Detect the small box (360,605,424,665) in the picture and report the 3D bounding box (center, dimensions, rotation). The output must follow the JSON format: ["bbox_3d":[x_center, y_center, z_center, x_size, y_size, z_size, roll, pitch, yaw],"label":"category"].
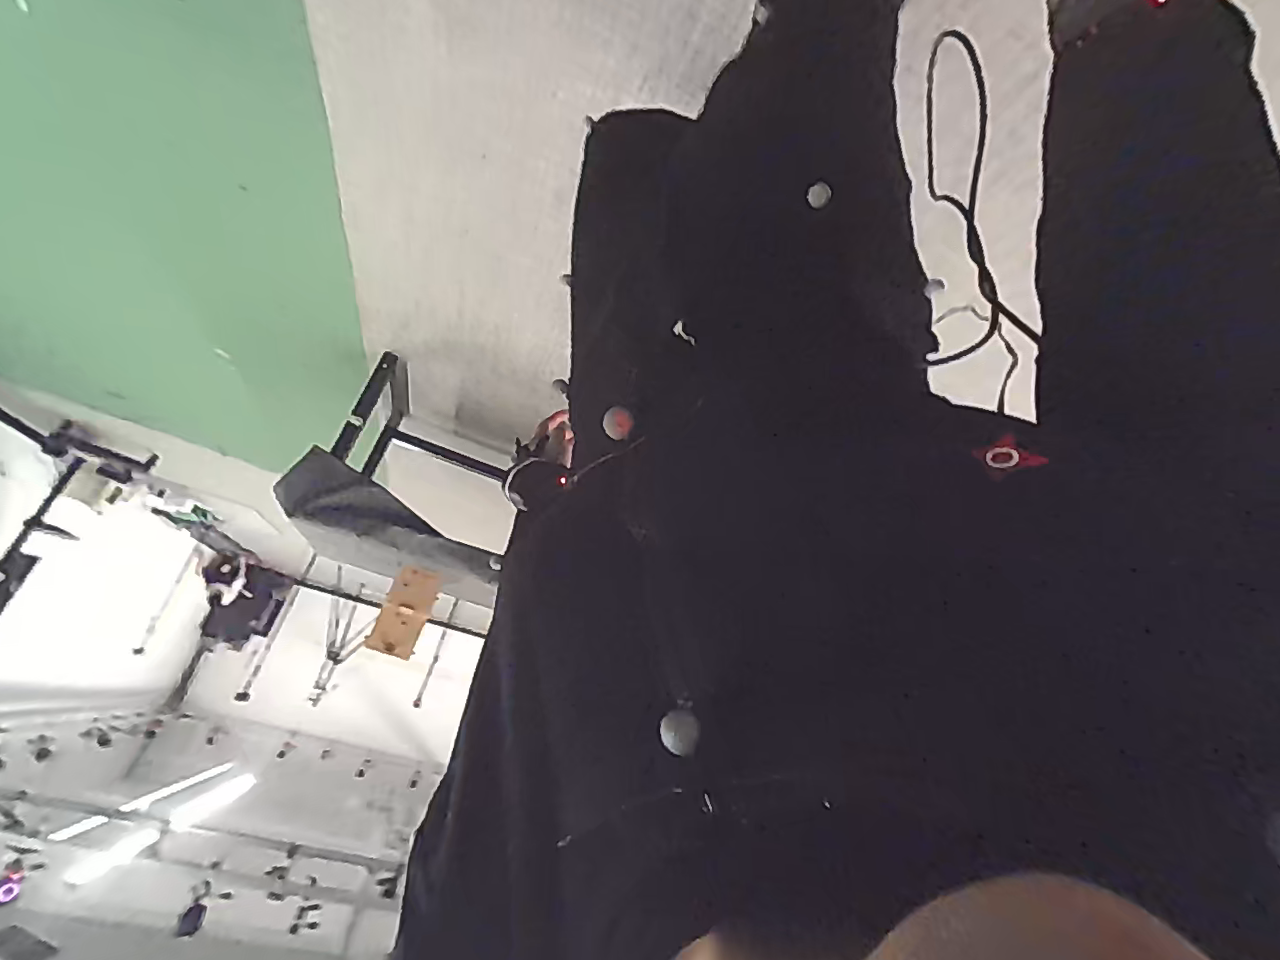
[{"bbox_3d":[-0.922,0.578,2.016,0.168,0.176,0.179,24,153,-16],"label":"small box"}]

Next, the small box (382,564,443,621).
[{"bbox_3d":[-0.871,0.433,2.072,0.168,0.176,0.179,24,155,-15],"label":"small box"}]
